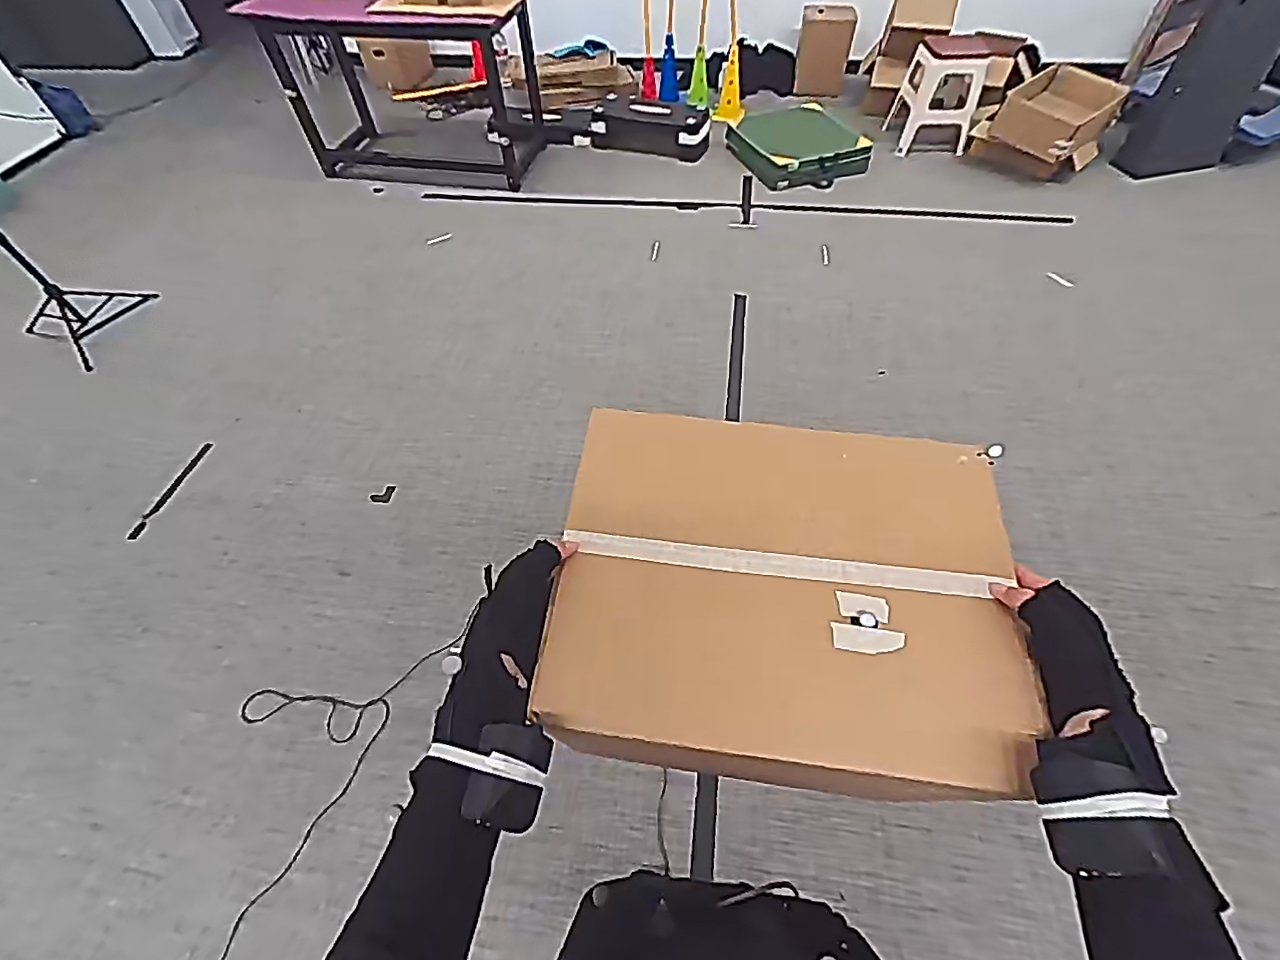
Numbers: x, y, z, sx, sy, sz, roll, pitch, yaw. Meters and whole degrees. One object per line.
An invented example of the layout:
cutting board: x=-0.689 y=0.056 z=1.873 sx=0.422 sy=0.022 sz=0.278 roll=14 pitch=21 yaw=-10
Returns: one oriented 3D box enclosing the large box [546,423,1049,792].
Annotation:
large box: x=0.134 y=0.161 z=0.627 sx=0.408 sy=0.320 sz=0.320 roll=6 pitch=60 yaw=4
